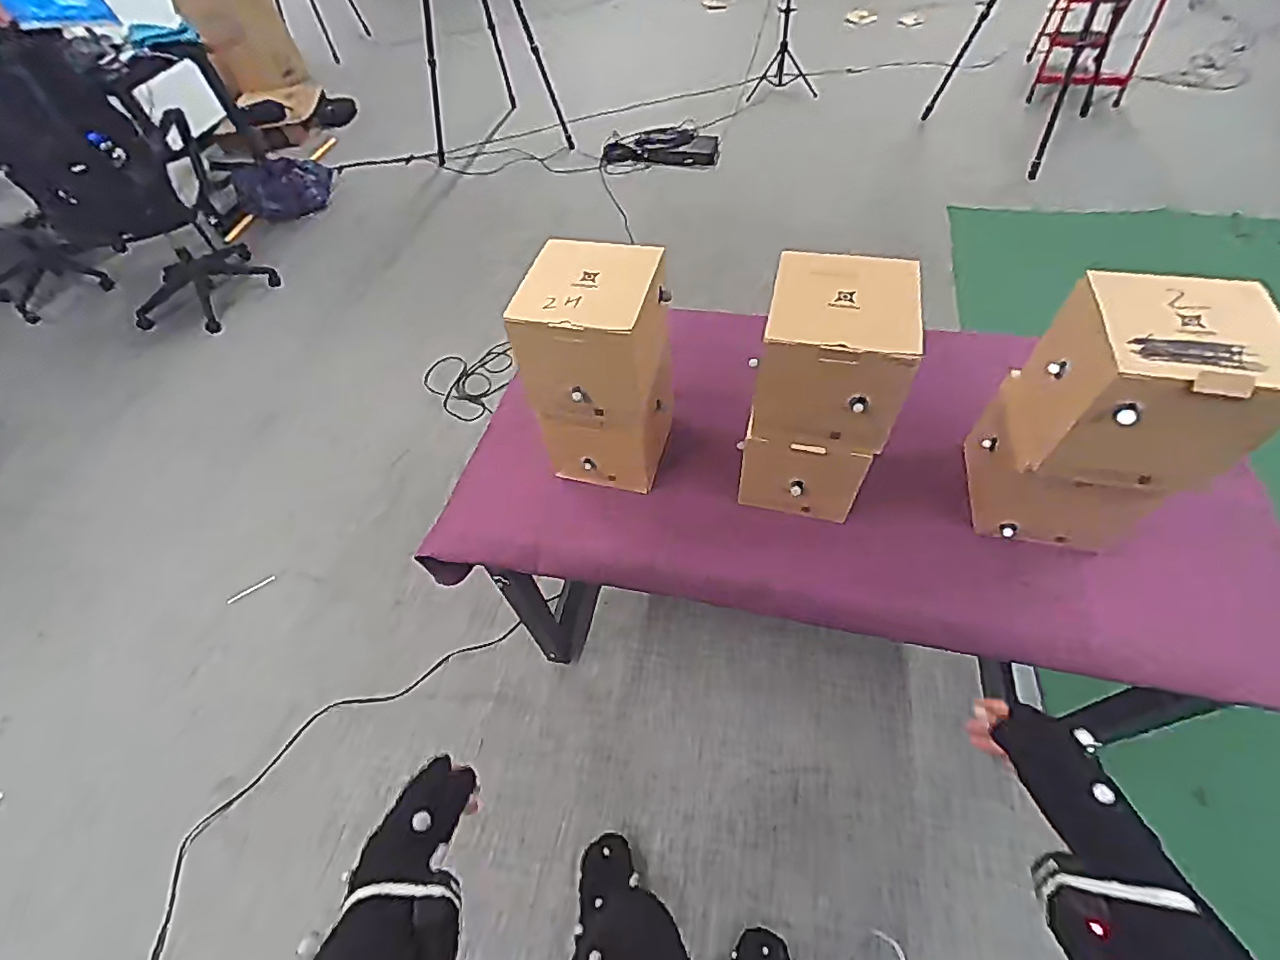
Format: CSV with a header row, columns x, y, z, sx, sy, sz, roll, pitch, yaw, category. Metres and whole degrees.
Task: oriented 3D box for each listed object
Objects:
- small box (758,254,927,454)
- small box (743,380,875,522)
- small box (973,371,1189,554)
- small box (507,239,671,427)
x,y,z,sx,sy,sz,roll,pitch,yaw,category
0.246,-0.155,0.680,0.168,0.176,0.179,10,56,13,small box
0.252,-0.059,0.813,0.168,0.176,0.179,11,57,13,small box
0.586,-0.020,0.748,0.168,0.176,0.179,13,57,12,small box
-0.056,-0.200,0.741,0.168,0.176,0.179,10,56,12,small box
